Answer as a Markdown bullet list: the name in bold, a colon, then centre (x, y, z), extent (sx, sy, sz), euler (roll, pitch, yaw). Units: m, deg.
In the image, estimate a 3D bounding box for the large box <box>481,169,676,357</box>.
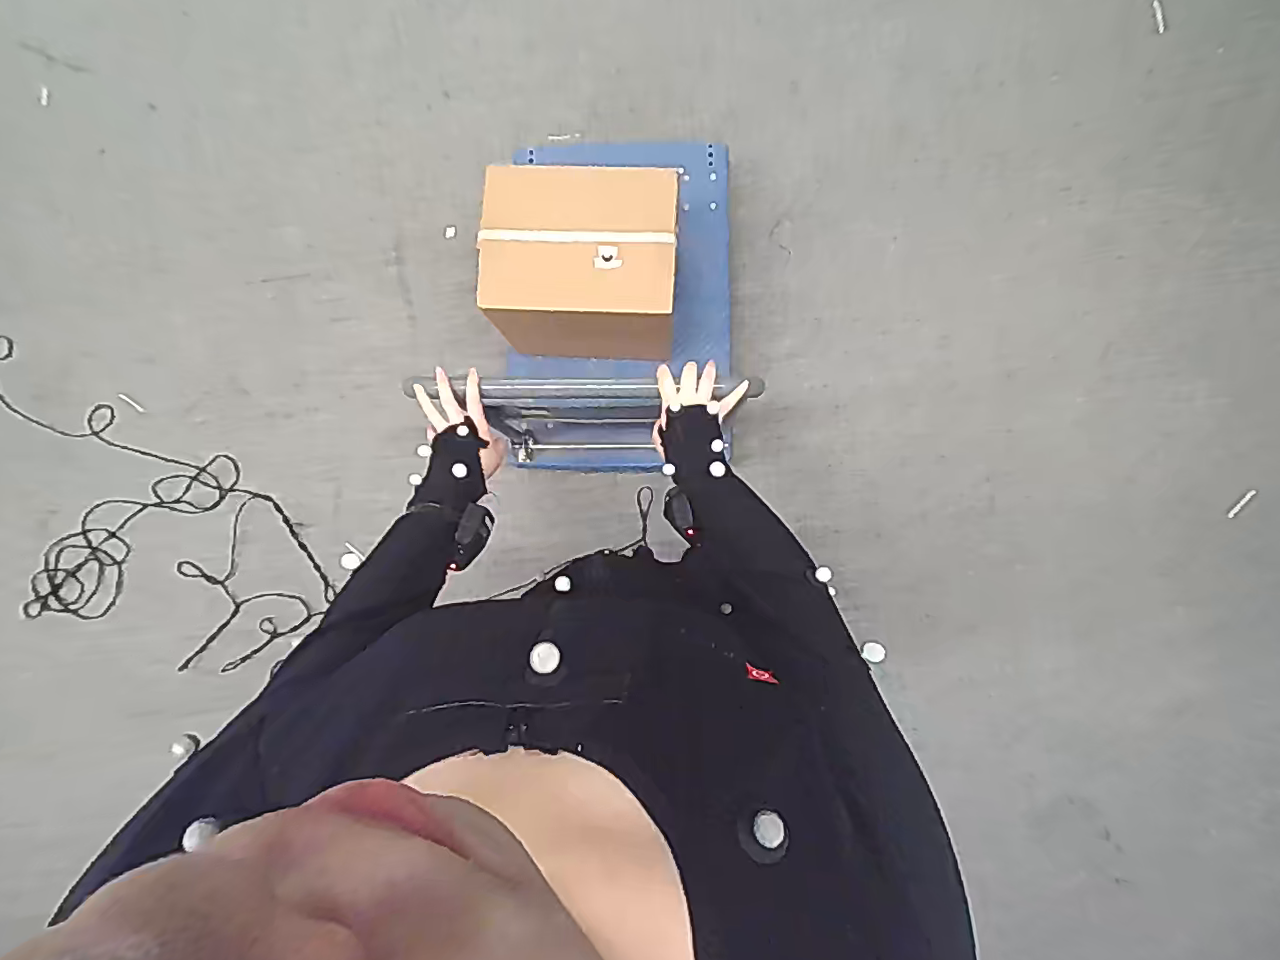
- **large box**: centre (-0.126, -0.490, 1.277), extent (0.408, 0.320, 0.320), euler (2, 85, 2)
